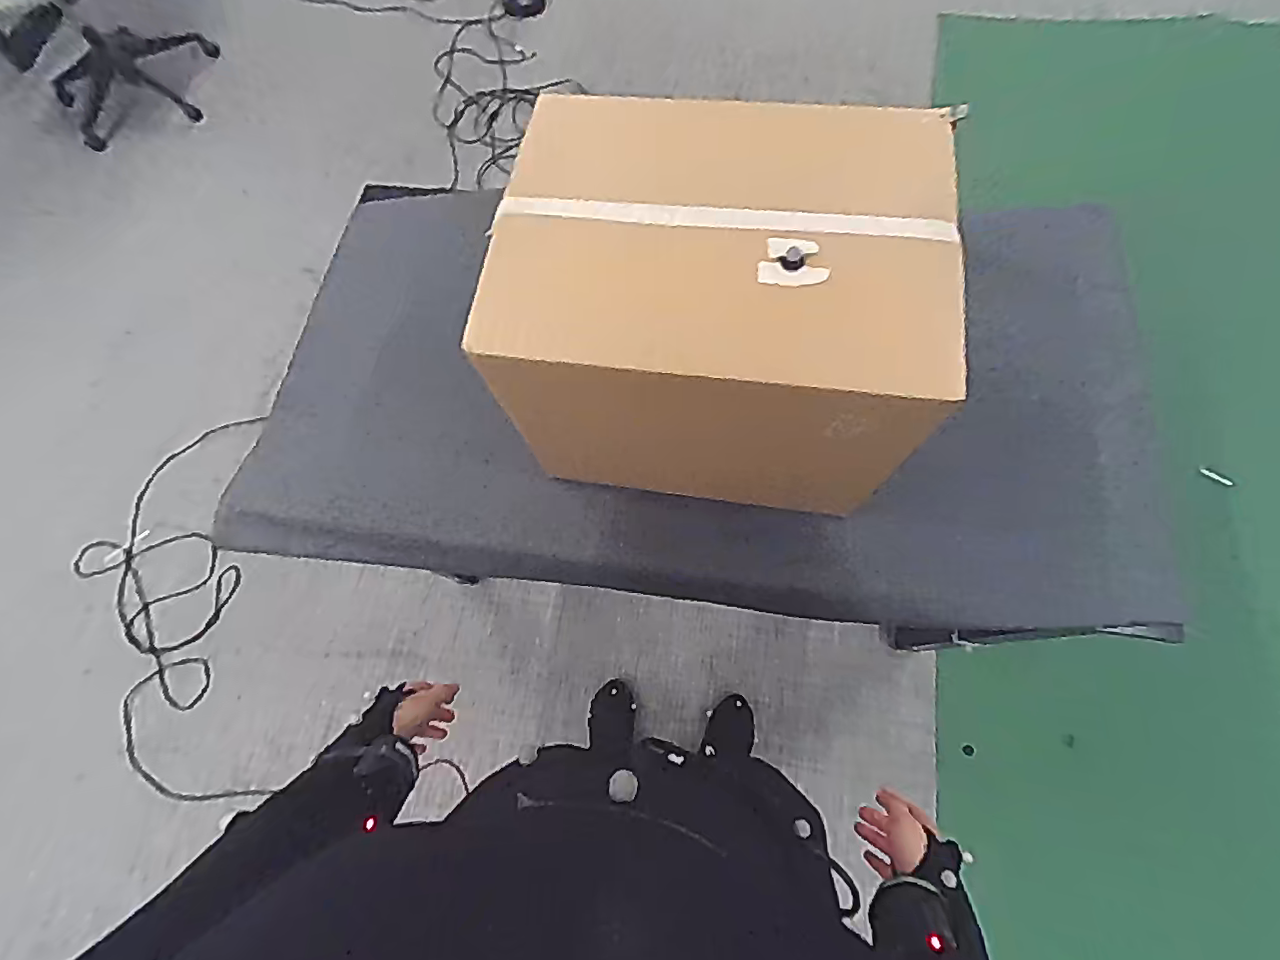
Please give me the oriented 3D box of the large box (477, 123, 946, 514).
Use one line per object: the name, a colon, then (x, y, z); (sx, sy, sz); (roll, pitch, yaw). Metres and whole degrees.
large box: (0.078, -0.166, 0.642); (0.408, 0.320, 0.320); (7, 71, 7)
